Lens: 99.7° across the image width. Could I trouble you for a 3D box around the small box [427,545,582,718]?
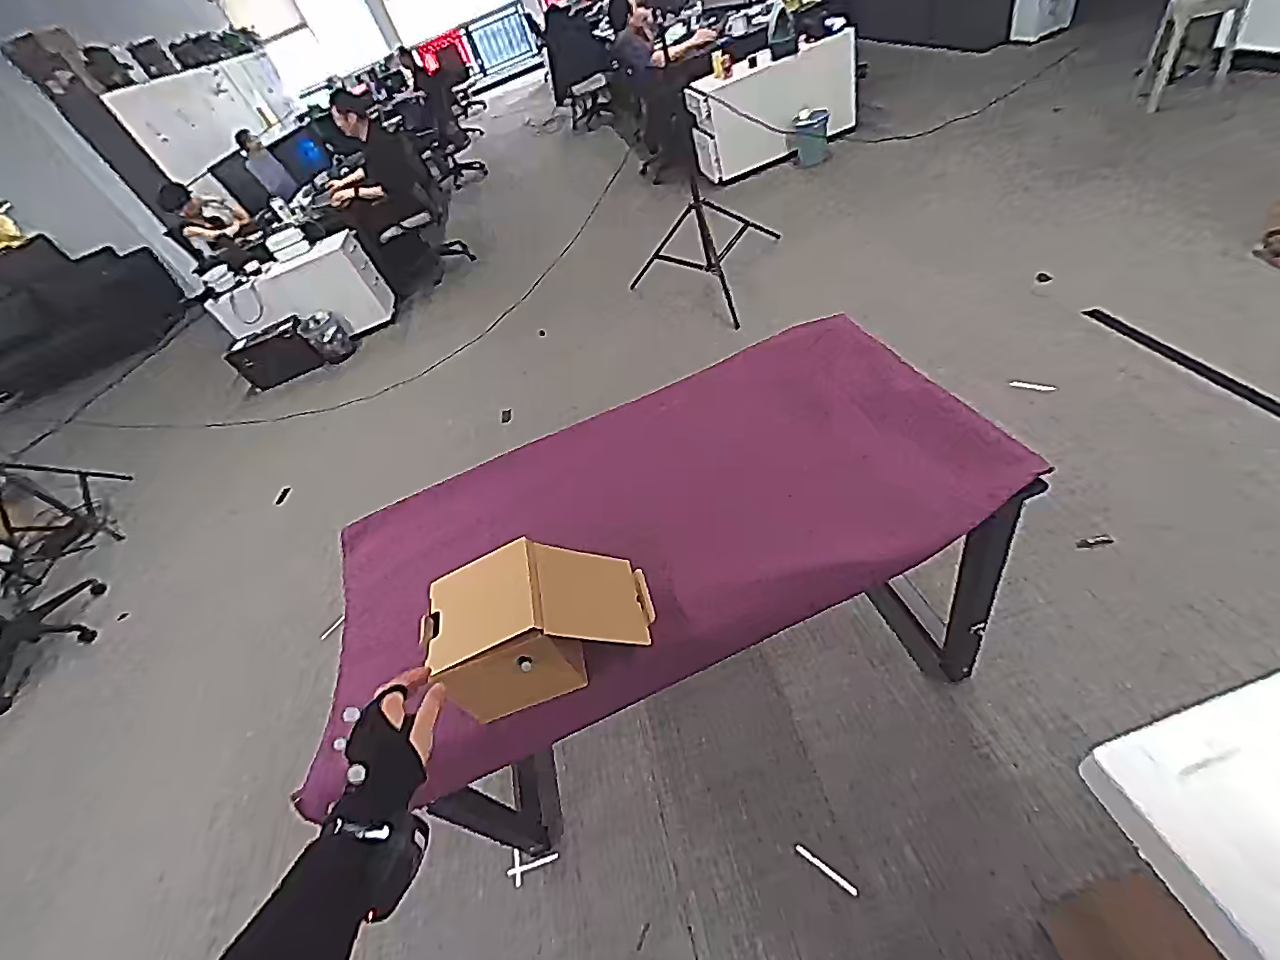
[{"bbox_3d":[-0.199,0.235,0.832,0.179,0.176,0.168,-22,43,3],"label":"small box"}]
